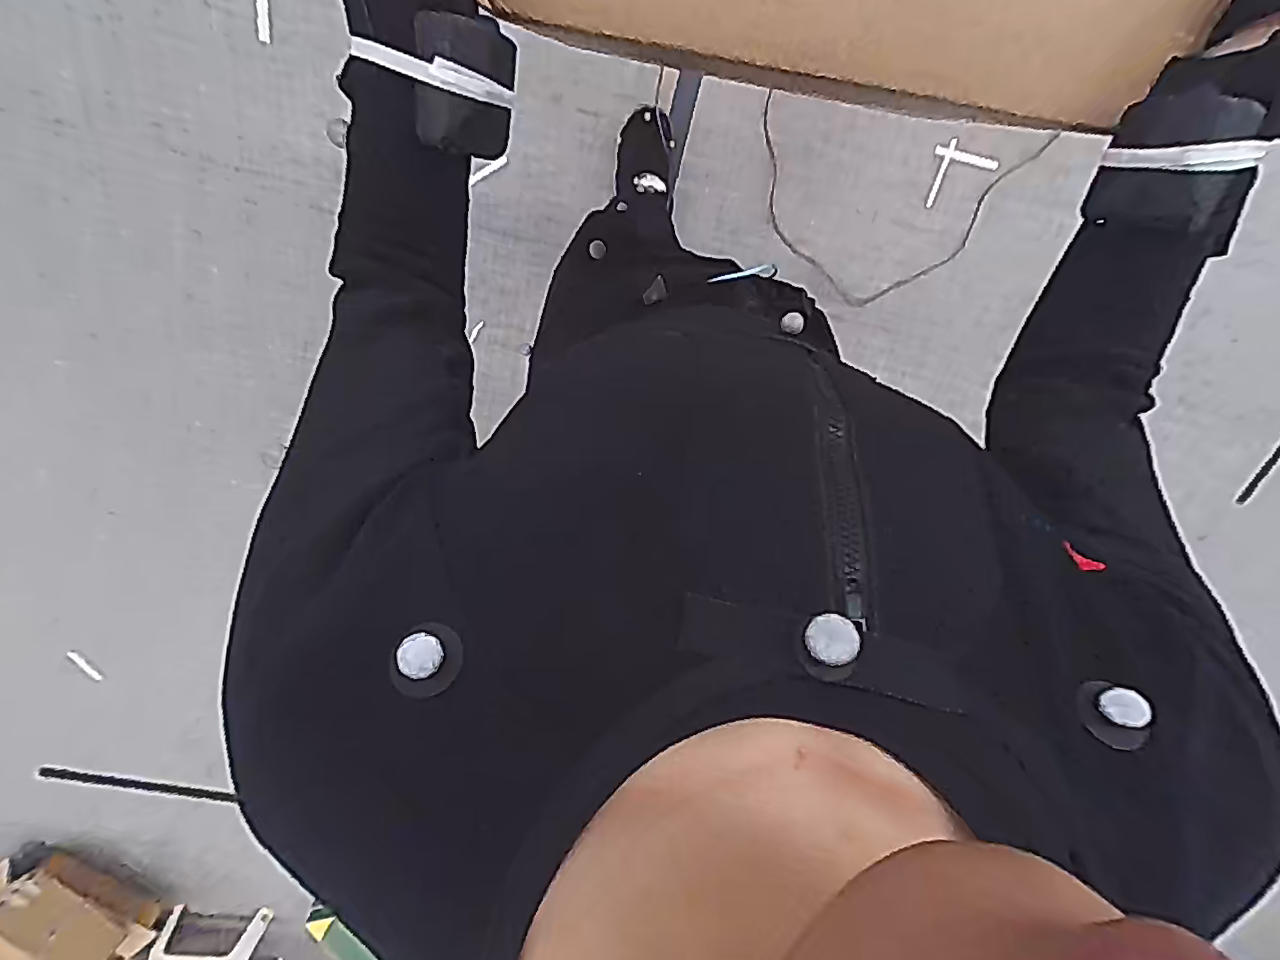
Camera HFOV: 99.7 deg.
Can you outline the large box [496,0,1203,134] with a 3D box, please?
[{"bbox_3d":[0.134,-0.451,0.360,0.408,0.320,0.320,8,127,-4],"label":"large box"}]
